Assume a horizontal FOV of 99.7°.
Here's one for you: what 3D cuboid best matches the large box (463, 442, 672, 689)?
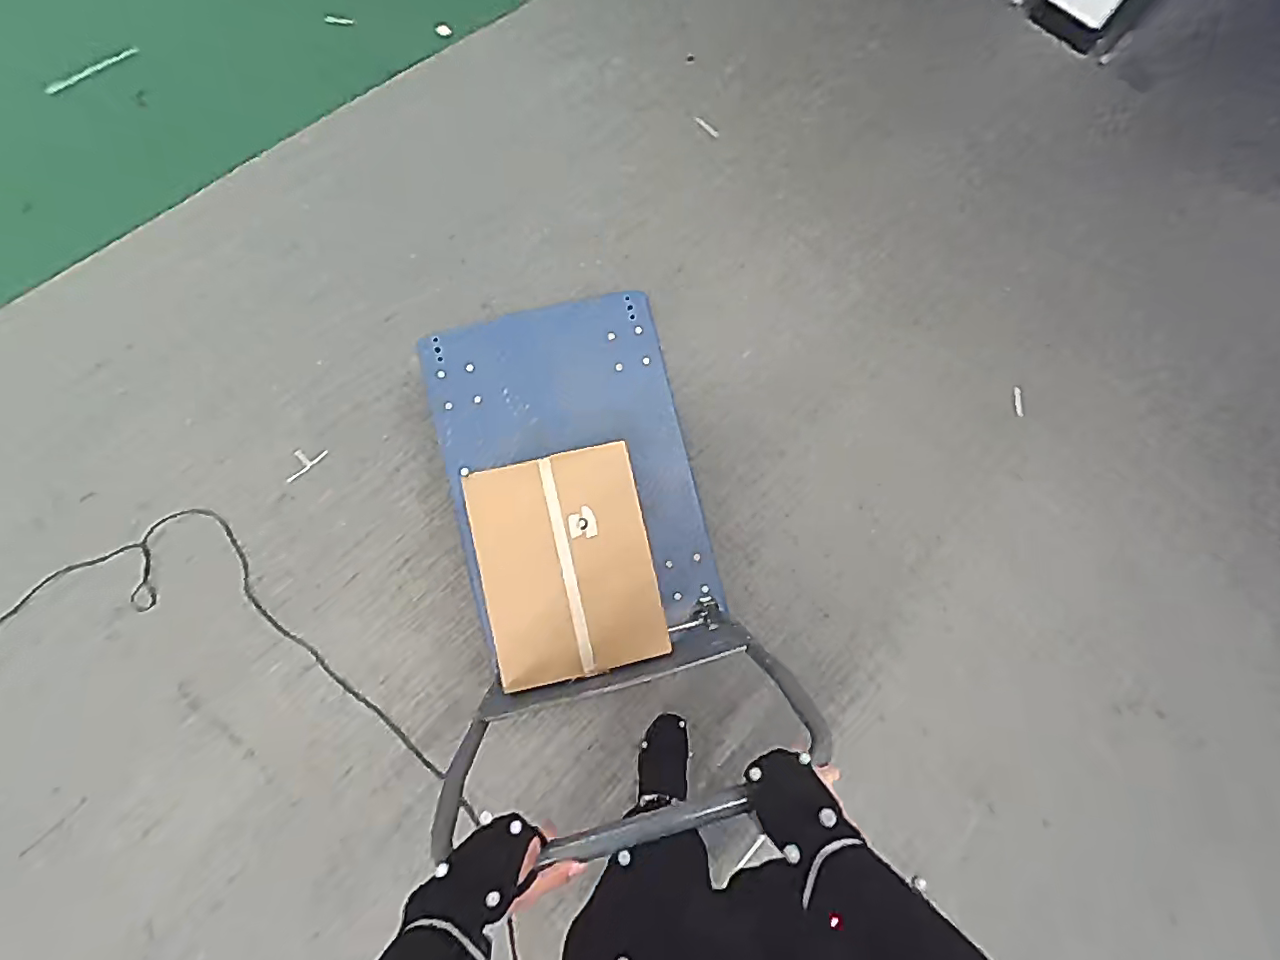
[{"bbox_3d":[-0.142,0.169,1.148,0.320,0.320,0.408,-13,85,-5],"label":"large box"}]
